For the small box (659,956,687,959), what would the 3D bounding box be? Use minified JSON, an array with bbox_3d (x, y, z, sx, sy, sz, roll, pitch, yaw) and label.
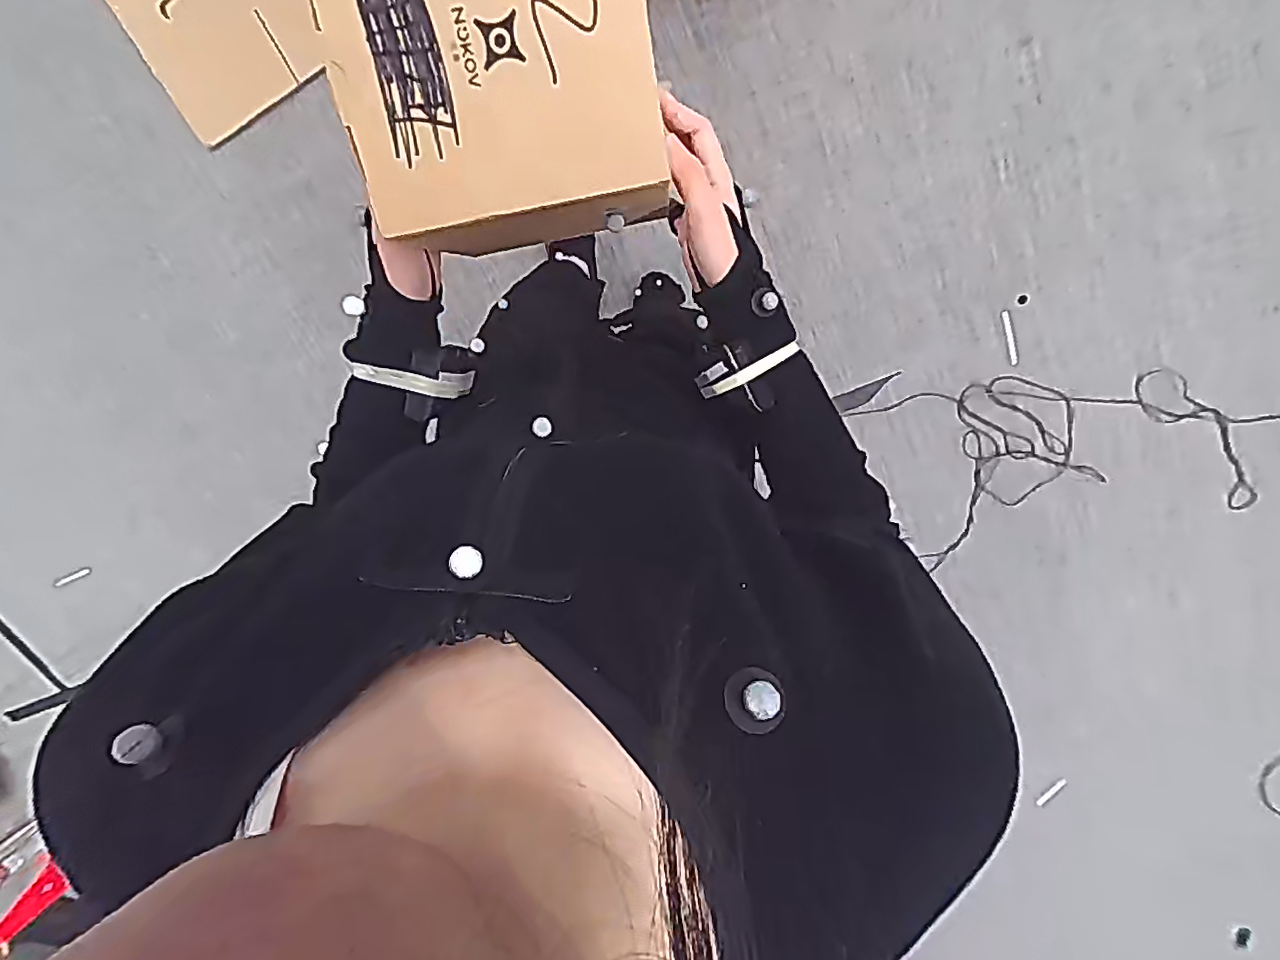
[{"bbox_3d":[0.033,1.128,1.109,0.179,0.176,0.168,-18,110,11],"label":"small box"}]
